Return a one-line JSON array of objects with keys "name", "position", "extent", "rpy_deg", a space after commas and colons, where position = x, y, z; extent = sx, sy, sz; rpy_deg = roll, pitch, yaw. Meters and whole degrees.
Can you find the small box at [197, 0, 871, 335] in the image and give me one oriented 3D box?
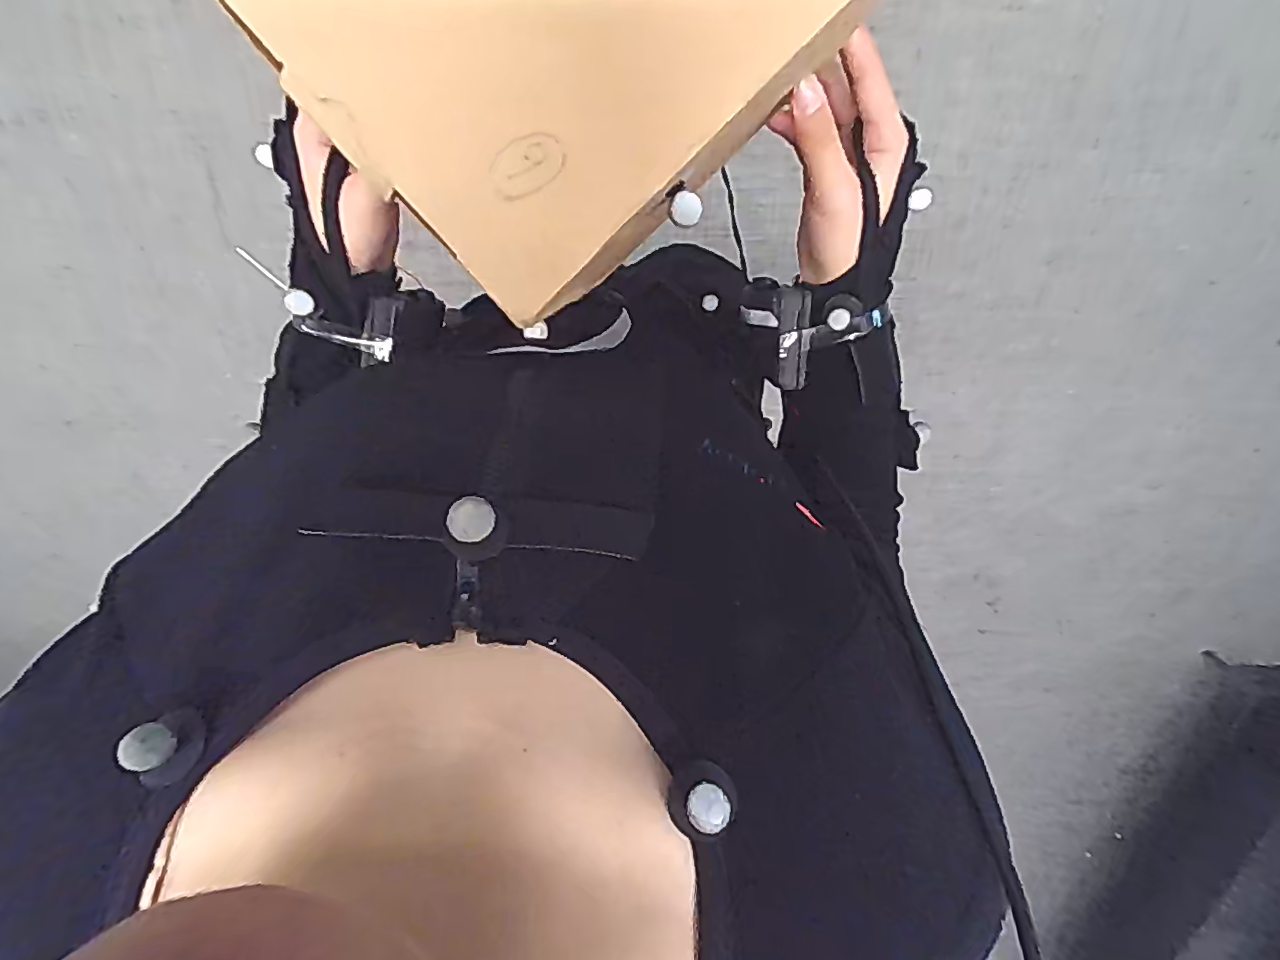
[{"name": "small box", "position": [-0.027, -0.189, 0.223], "extent": [0.179, 0.176, 0.168], "rpy_deg": [-38, 106, 19]}]
